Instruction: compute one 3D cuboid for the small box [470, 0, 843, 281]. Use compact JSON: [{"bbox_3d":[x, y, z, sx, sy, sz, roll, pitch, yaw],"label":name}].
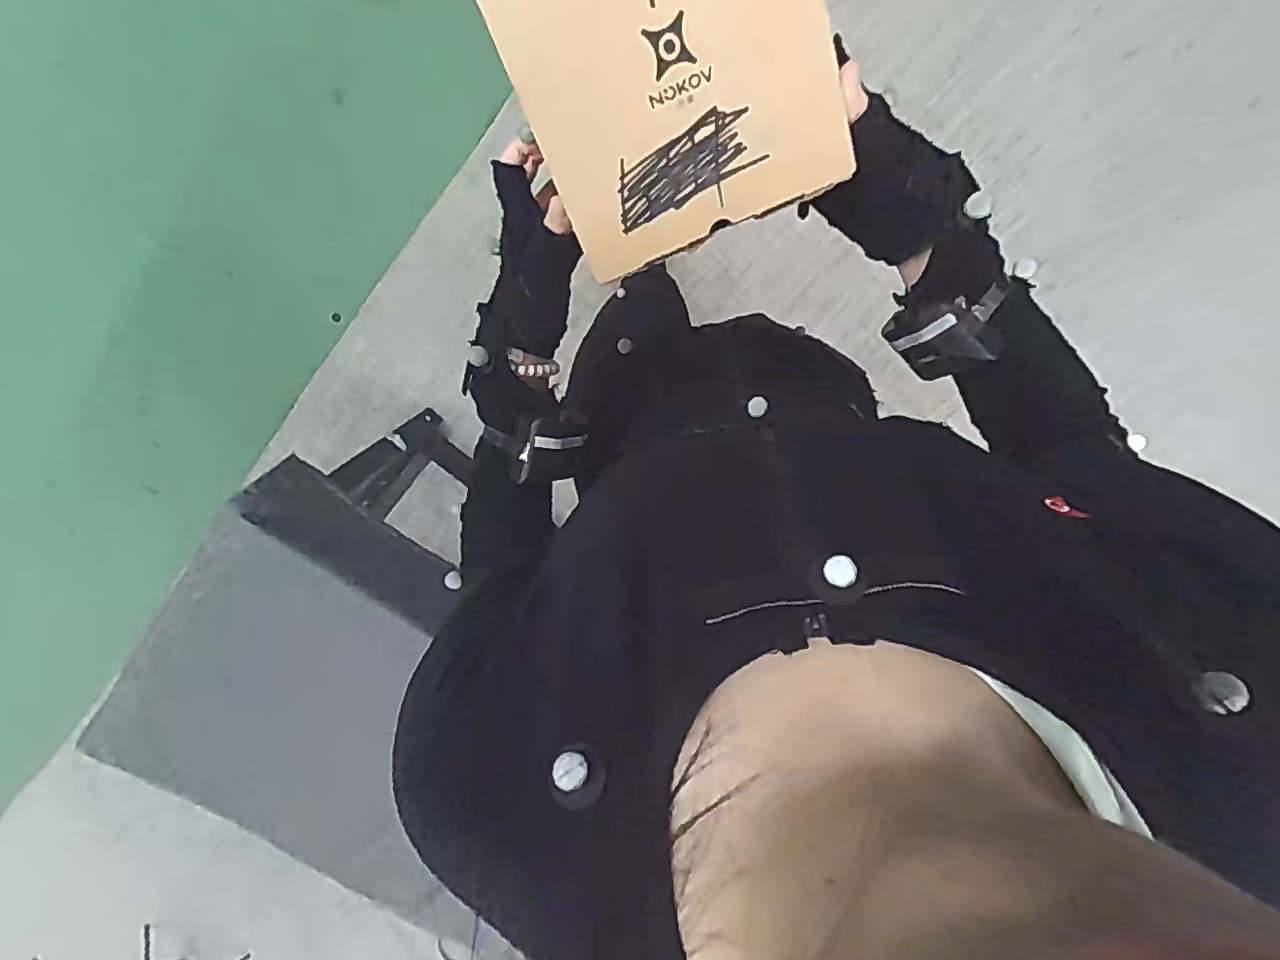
[{"bbox_3d":[0.010,-0.259,0.354,0.168,0.176,0.179,-21,119,9],"label":"small box"}]
